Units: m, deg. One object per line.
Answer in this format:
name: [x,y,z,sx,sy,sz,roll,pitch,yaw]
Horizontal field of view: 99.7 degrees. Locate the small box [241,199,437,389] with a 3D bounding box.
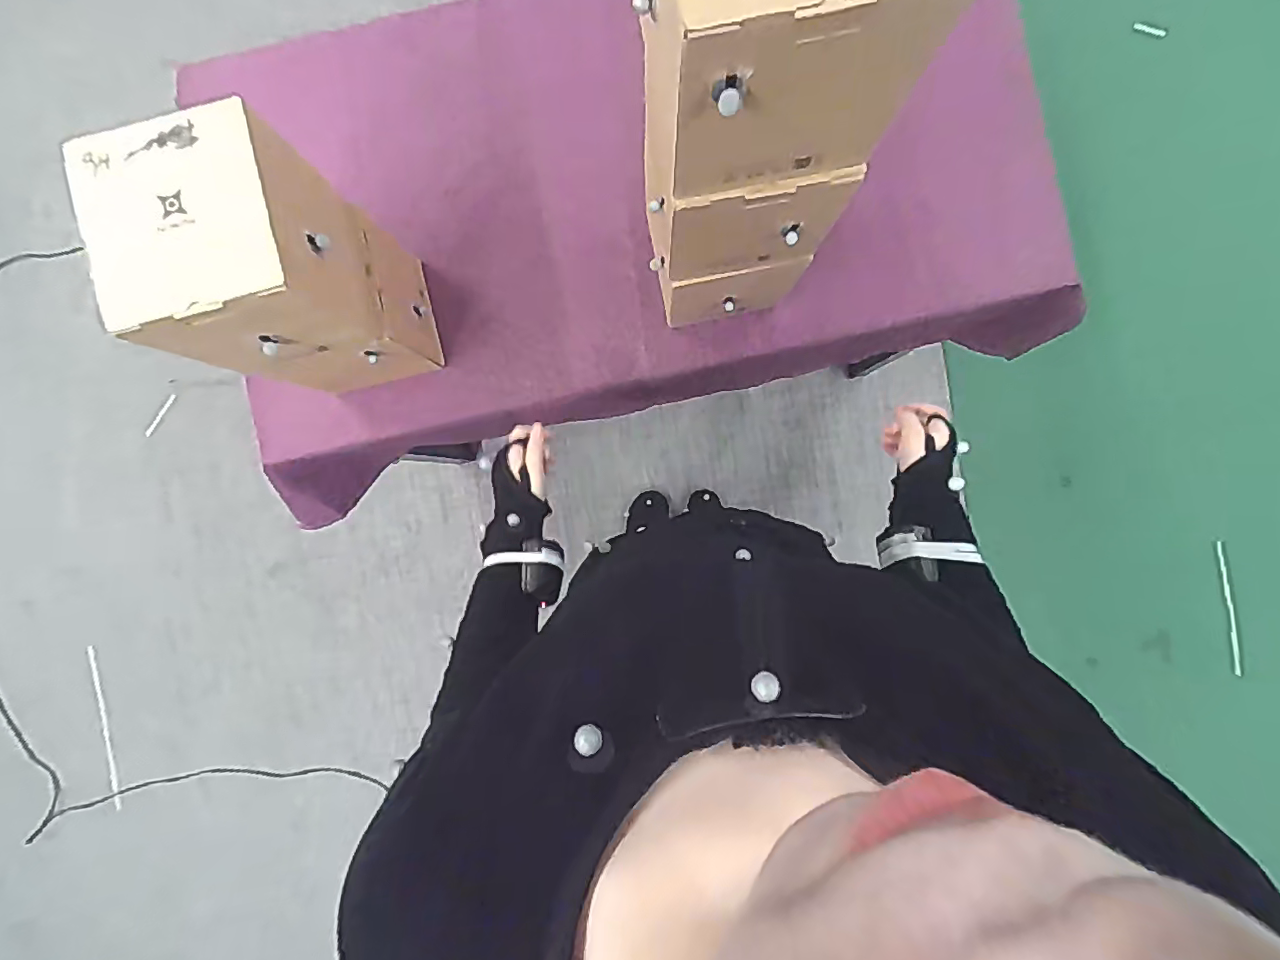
small box: [-0.398,-0.229,0.712,0.179,0.176,0.168,-15,89,1]

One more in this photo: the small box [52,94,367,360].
small box: [-0.409,-0.231,0.548,0.168,0.176,0.179,-15,90,1]

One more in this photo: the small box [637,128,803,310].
small box: [0.094,-0.331,0.692,0.168,0.176,0.179,-11,90,1]

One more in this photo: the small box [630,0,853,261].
small box: [0.088,-0.333,0.529,0.168,0.176,0.179,-9,89,2]
